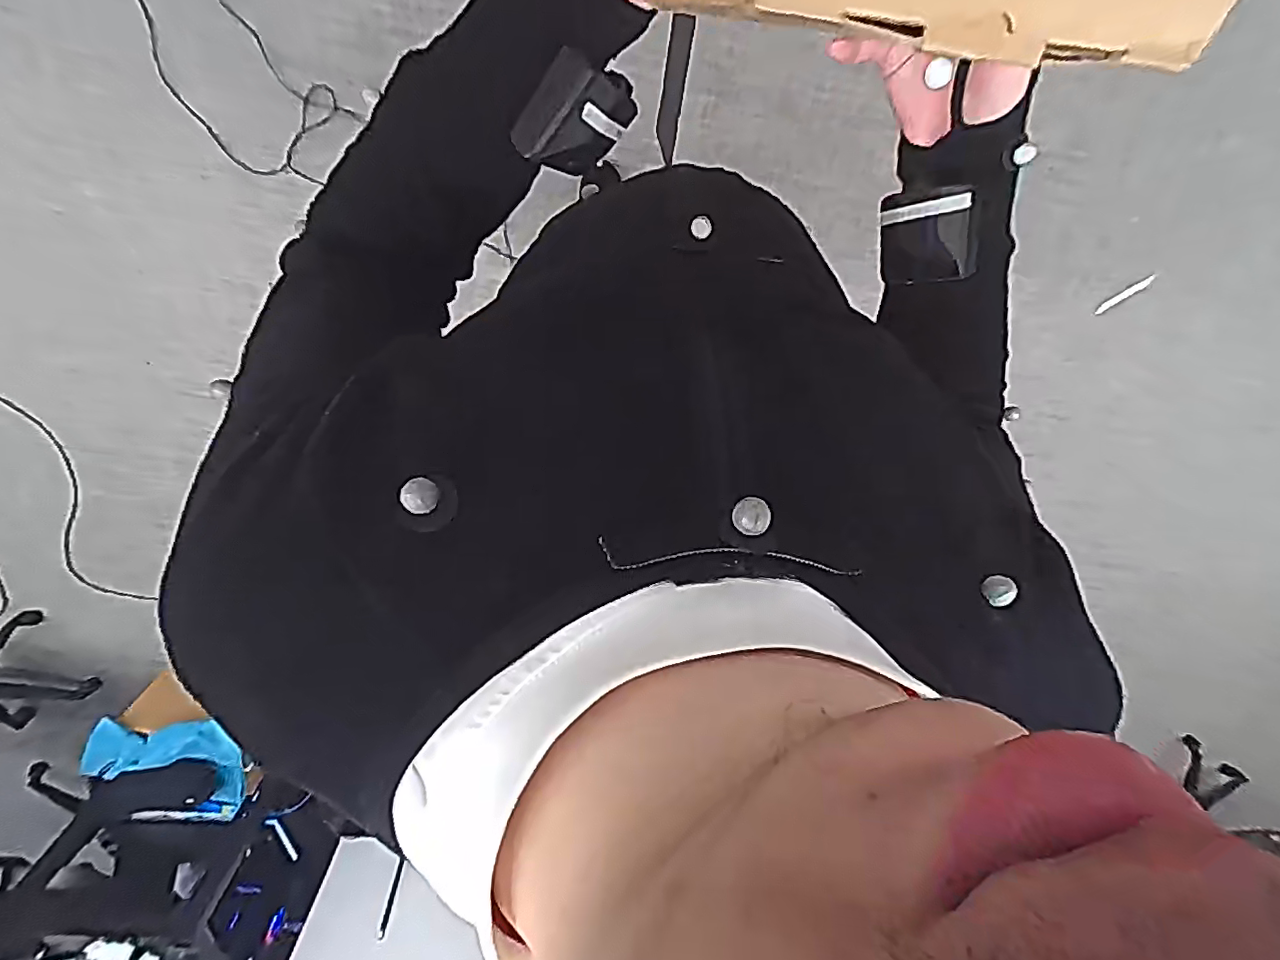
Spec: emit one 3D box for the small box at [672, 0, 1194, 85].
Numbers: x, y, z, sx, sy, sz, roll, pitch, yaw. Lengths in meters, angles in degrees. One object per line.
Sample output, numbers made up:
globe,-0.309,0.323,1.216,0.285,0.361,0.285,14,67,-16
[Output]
small box,0.105,-0.264,0.189,0.168,0.176,0.179,-2,131,-12
